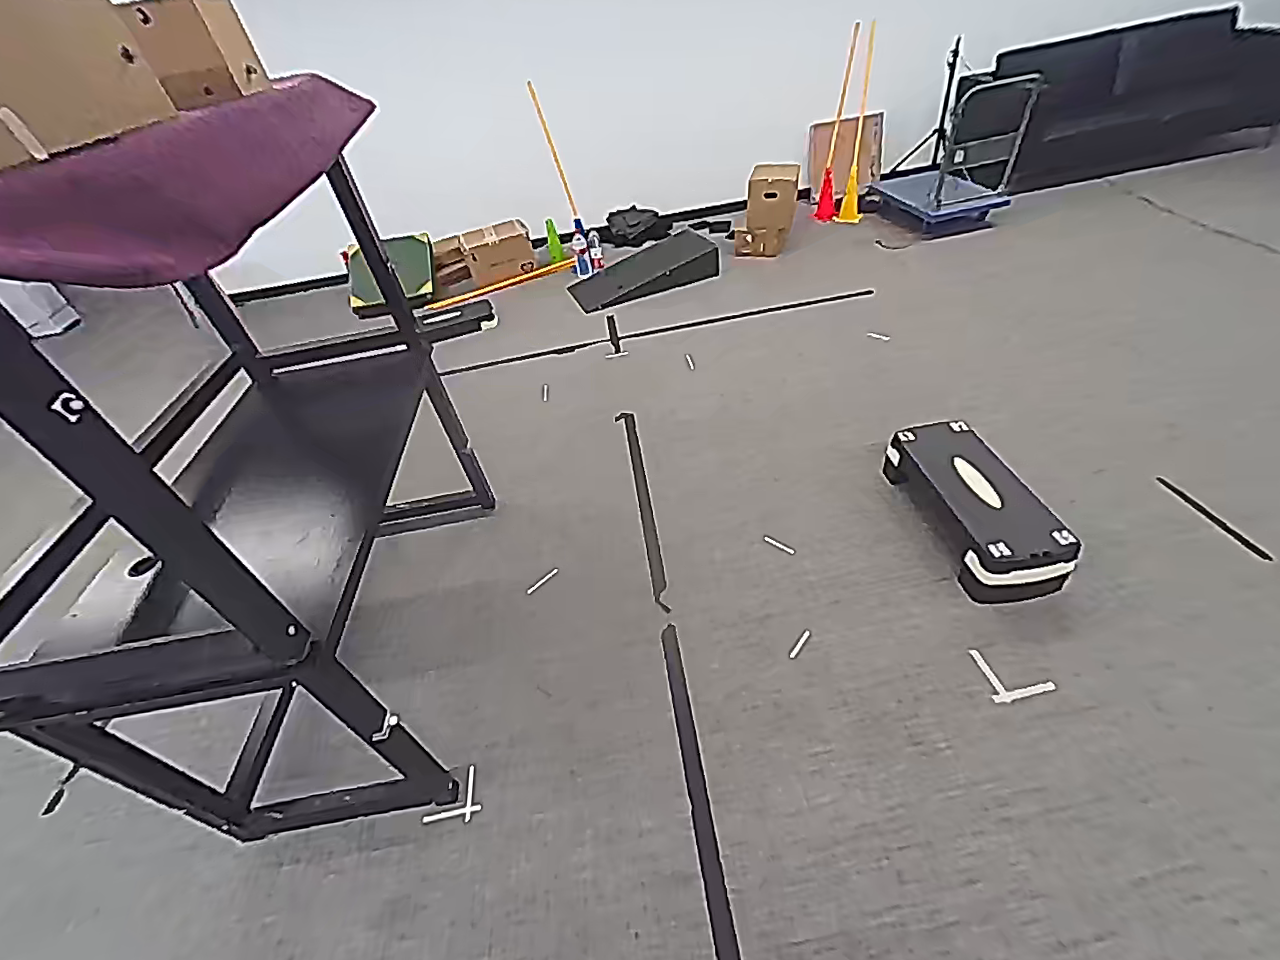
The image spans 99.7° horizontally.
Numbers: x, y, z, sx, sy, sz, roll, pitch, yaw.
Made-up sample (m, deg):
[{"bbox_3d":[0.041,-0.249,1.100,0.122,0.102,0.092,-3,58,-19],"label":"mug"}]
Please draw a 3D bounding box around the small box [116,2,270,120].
[{"bbox_3d":[-0.913,-0.861,1.118,0.168,0.176,0.179,-12,41,-1],"label":"small box"}]

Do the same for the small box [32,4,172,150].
[{"bbox_3d":[-0.896,-0.618,0.845,0.168,0.176,0.179,-11,42,1],"label":"small box"}]

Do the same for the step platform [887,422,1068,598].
[{"bbox_3d":[1.114,0.066,1.856,0.286,0.204,0.684,-7,40,4],"label":"step platform"}]
